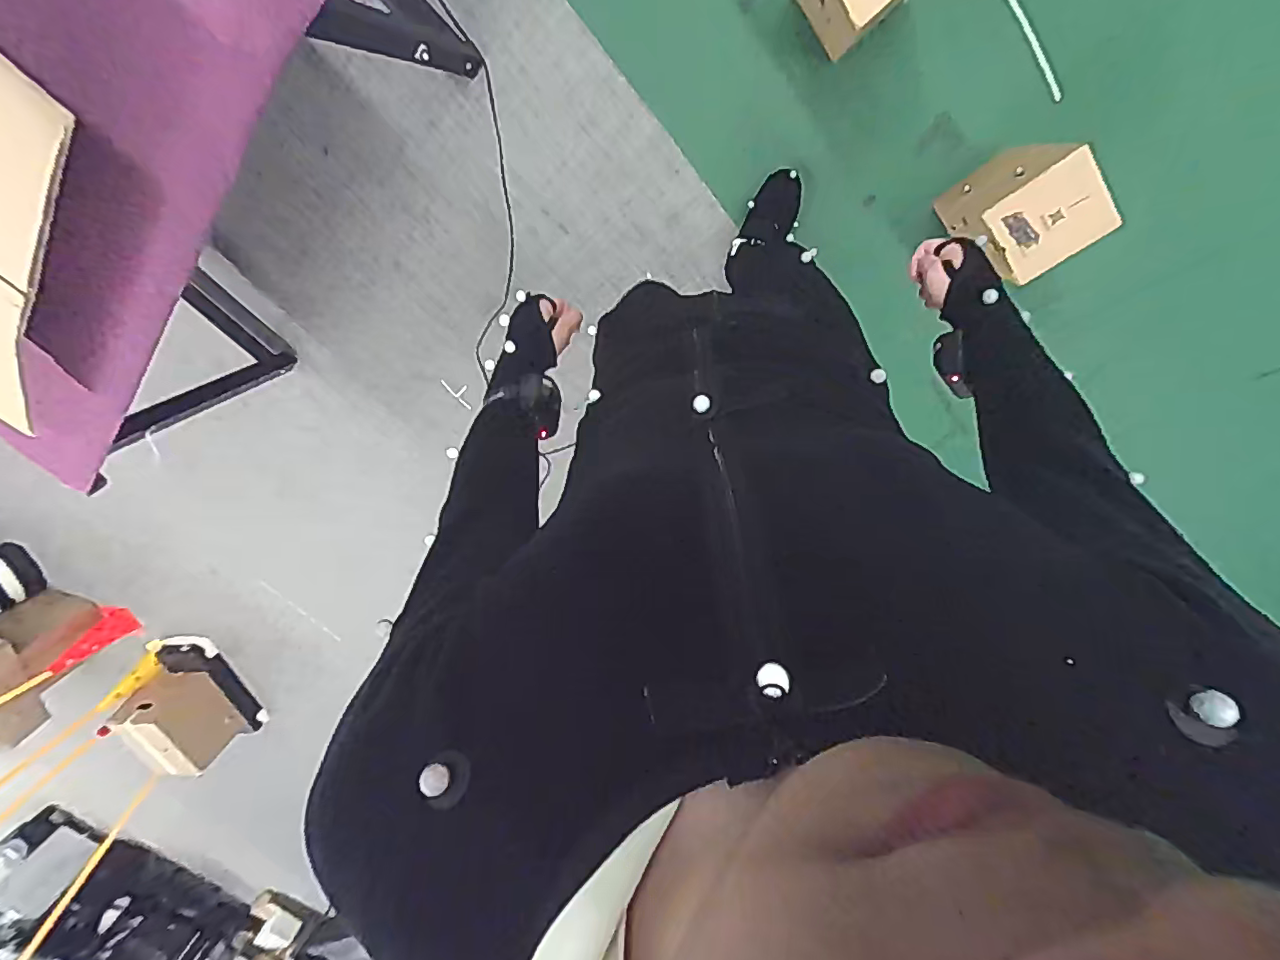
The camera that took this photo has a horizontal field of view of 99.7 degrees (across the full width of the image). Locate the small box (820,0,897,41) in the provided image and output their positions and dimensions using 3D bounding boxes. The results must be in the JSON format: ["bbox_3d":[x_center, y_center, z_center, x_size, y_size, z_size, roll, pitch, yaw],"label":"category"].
[{"bbox_3d":[0.389,-0.886,0.897,0.179,0.176,0.168,-32,108,26],"label":"small box"}]

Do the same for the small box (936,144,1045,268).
[{"bbox_3d":[0.787,-0.599,1.178,0.179,0.176,0.168,-33,109,28],"label":"small box"}]

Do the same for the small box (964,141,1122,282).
[{"bbox_3d":[0.757,-0.516,1.040,0.179,0.176,0.168,-32,110,27],"label":"small box"}]
